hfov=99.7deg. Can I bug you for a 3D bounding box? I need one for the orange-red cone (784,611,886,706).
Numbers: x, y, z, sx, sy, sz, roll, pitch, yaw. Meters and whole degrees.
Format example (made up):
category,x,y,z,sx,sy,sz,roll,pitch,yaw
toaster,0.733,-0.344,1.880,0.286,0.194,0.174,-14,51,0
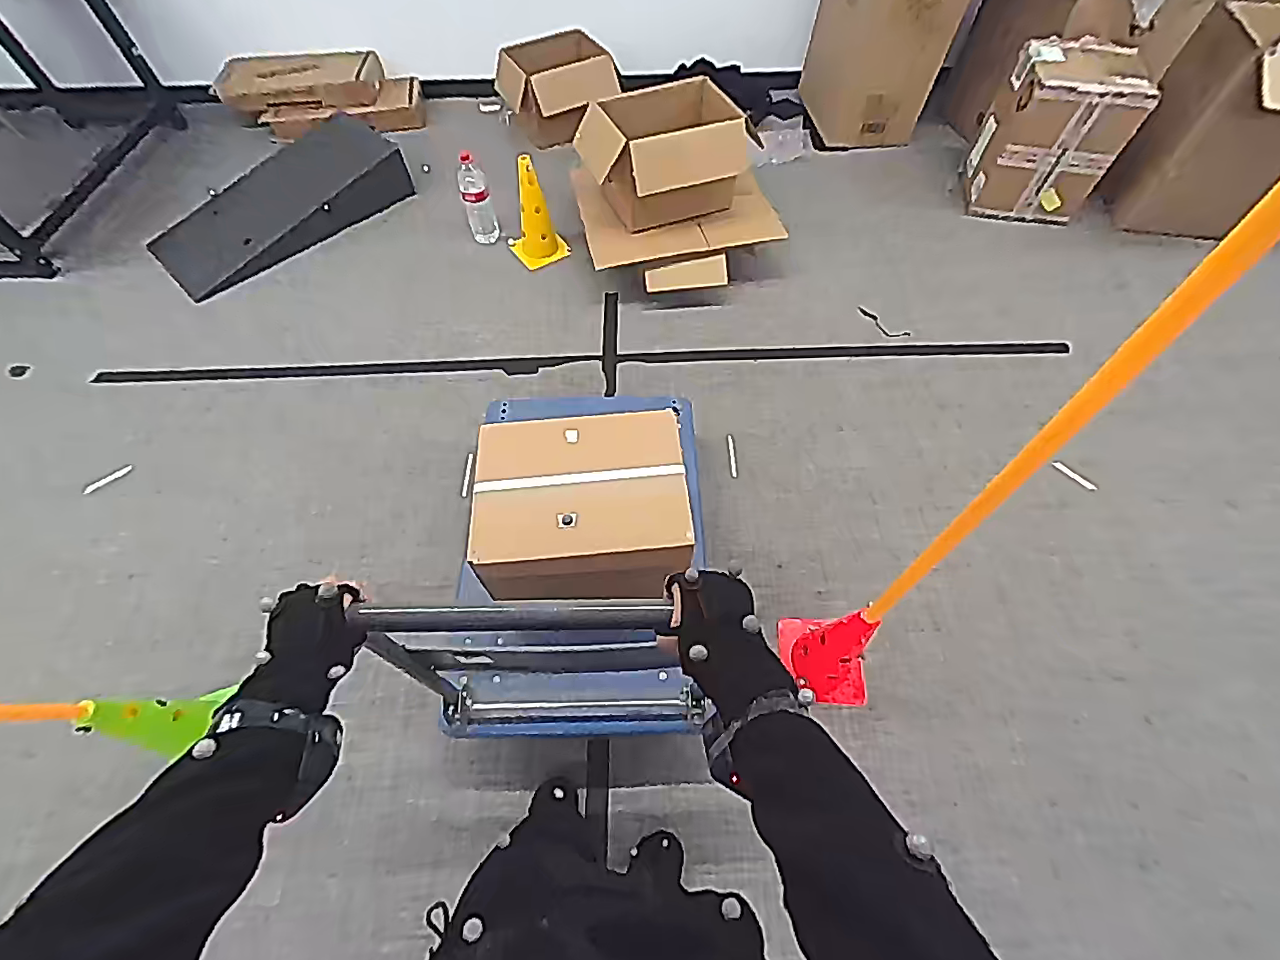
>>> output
category,x,y,z,sx,sy,sz,roll,pitch,yaw
orange-red cone,0.454,0.356,1.181,0.199,0.360,0.198,5,59,2
